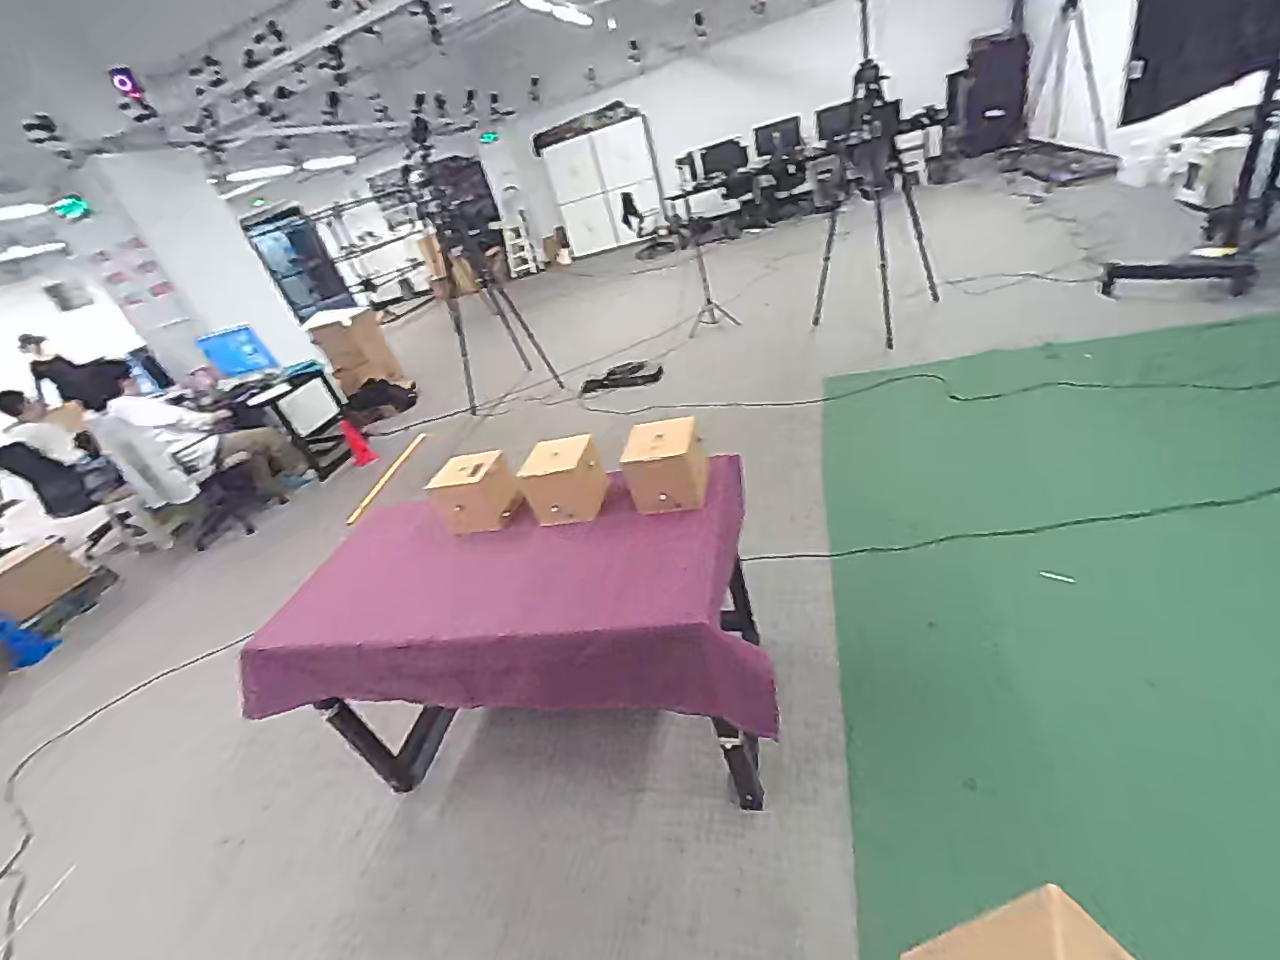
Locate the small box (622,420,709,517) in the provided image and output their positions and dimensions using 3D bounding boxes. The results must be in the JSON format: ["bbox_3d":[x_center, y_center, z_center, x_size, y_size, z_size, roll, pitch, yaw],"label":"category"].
[{"bbox_3d":[0.073,-0.028,1.376,0.168,0.176,0.179,-7,35,20],"label":"small box"}]

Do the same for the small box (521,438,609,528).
[{"bbox_3d":[-0.196,0.009,1.476,0.168,0.176,0.179,-8,33,18],"label":"small box"}]

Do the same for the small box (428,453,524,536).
[{"bbox_3d":[-0.463,0.046,1.560,0.179,0.176,0.168,-8,32,20],"label":"small box"}]
